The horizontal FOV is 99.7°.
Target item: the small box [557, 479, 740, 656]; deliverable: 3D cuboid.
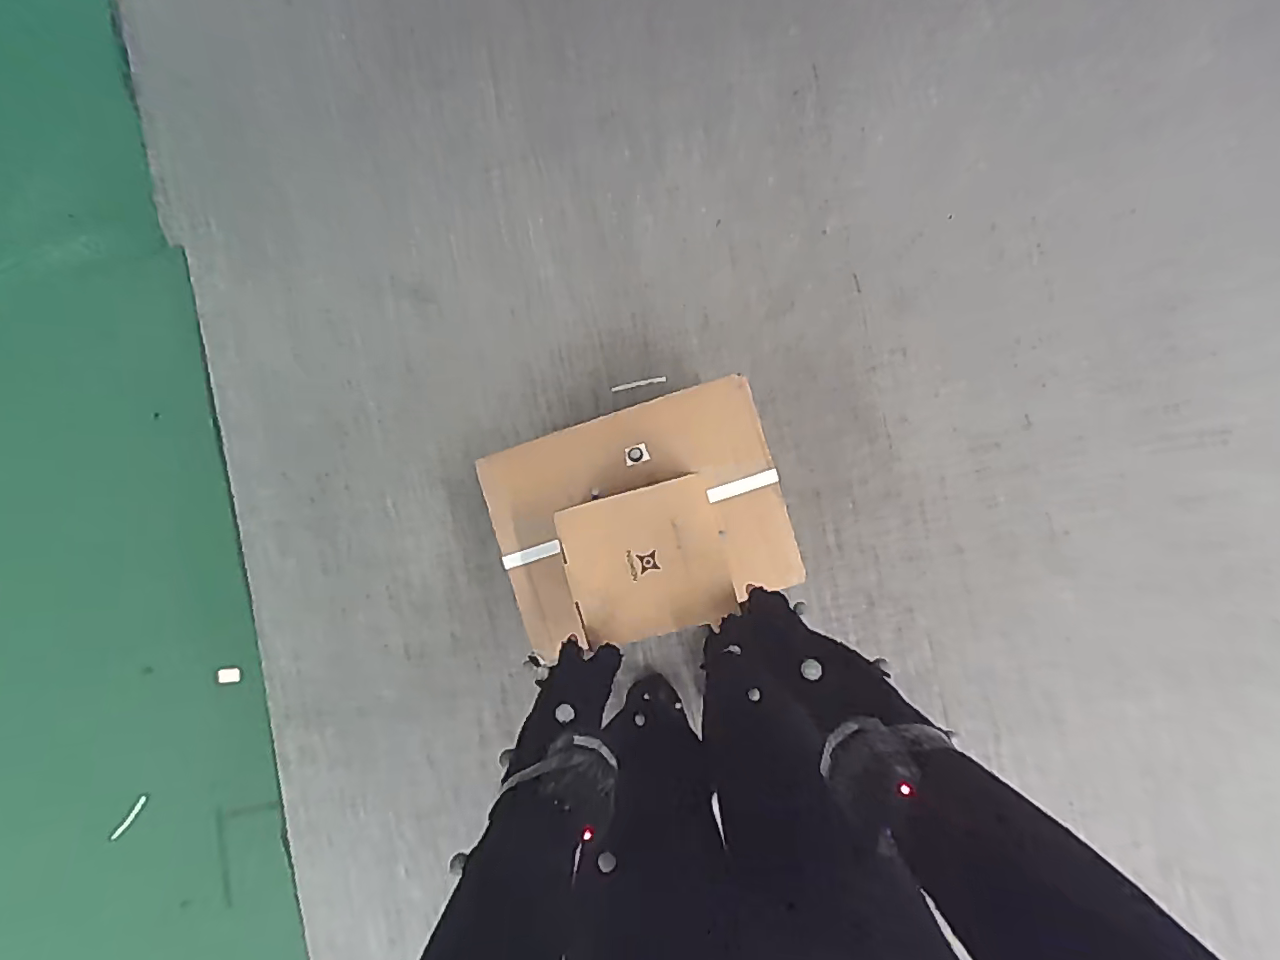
[{"bbox_3d":[0.014,0.100,0.689,0.179,0.176,0.168,-16,90,3],"label":"small box"}]
